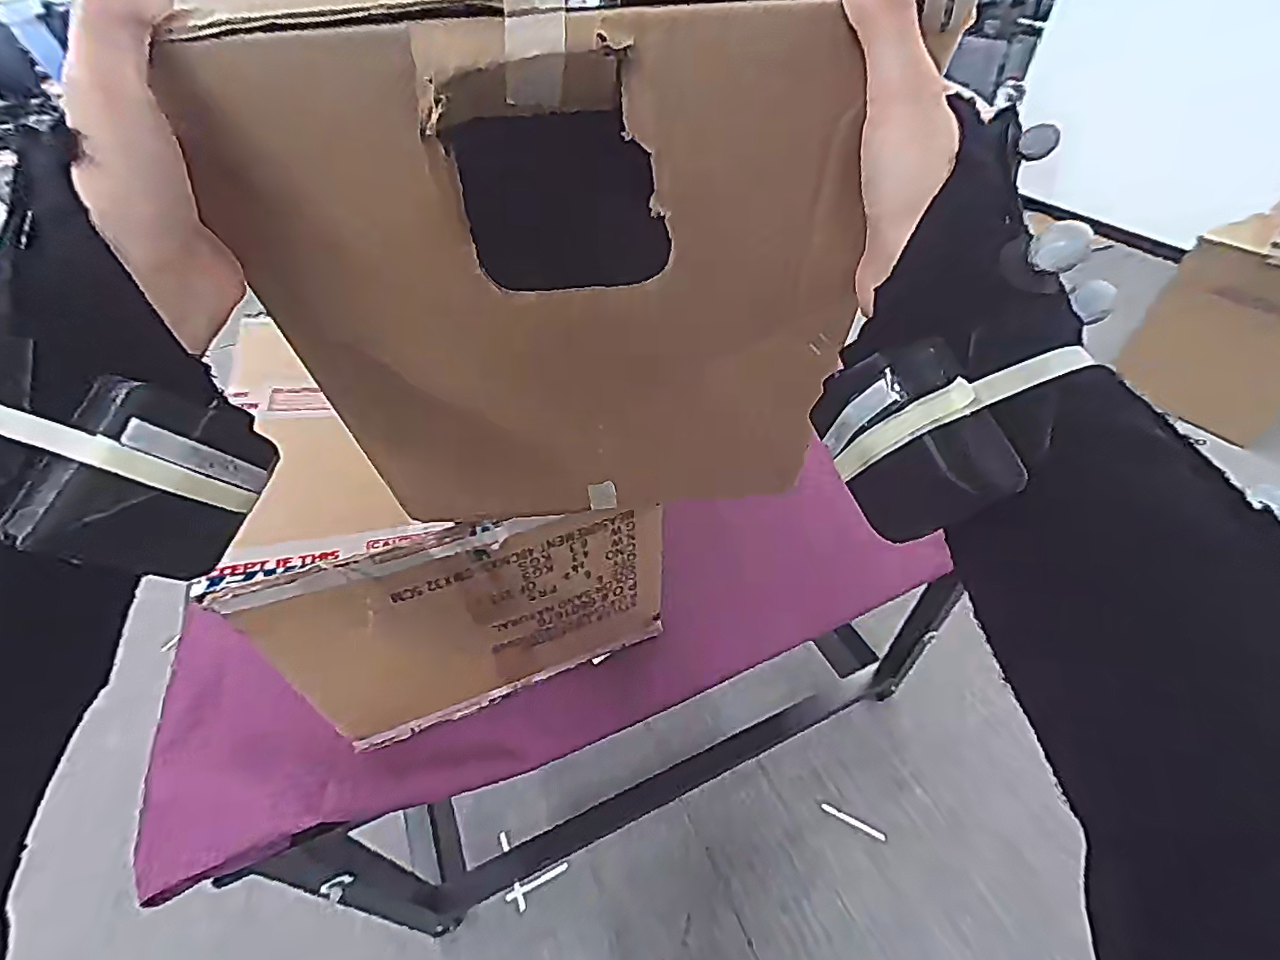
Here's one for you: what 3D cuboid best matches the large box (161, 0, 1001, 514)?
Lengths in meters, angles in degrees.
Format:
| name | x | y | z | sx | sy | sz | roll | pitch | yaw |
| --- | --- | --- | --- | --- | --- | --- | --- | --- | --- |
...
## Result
| name | x | y | z | sx | sy | sz | roll | pitch | yaw |
| --- | --- | --- | --- | --- | --- | --- | --- | --- | --- |
| large box | -0.034 | -0.229 | 0.428 | 0.320 | 0.320 | 0.408 | -6 | 54 | -1 |
